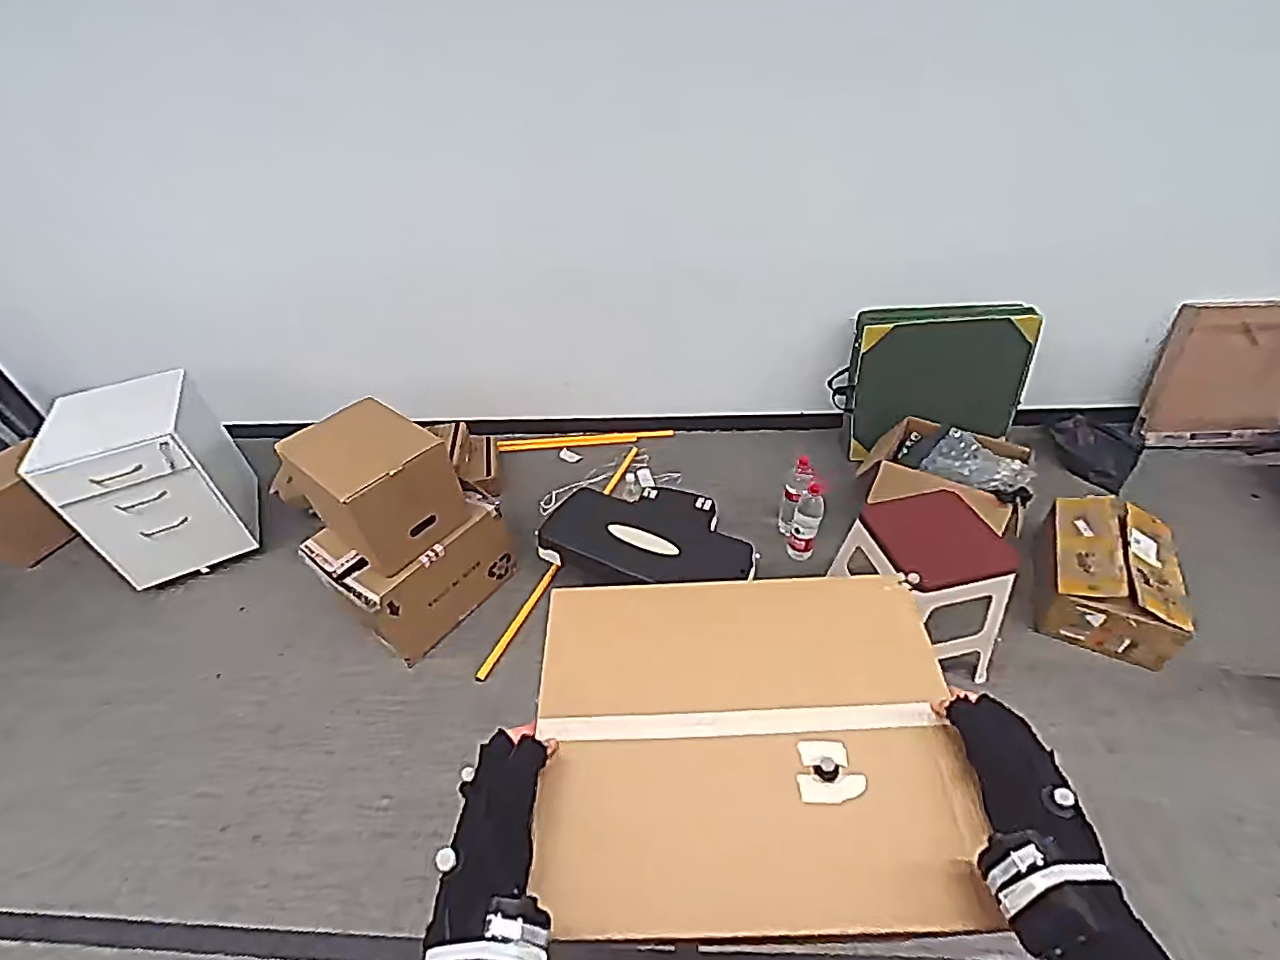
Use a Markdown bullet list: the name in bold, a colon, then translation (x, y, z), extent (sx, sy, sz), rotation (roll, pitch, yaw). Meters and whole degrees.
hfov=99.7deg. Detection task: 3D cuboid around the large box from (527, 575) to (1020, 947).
- **large box**: translation (0.108, 0.335, 0.638), extent (0.408, 0.320, 0.320), rotation (-3, 48, 2)
